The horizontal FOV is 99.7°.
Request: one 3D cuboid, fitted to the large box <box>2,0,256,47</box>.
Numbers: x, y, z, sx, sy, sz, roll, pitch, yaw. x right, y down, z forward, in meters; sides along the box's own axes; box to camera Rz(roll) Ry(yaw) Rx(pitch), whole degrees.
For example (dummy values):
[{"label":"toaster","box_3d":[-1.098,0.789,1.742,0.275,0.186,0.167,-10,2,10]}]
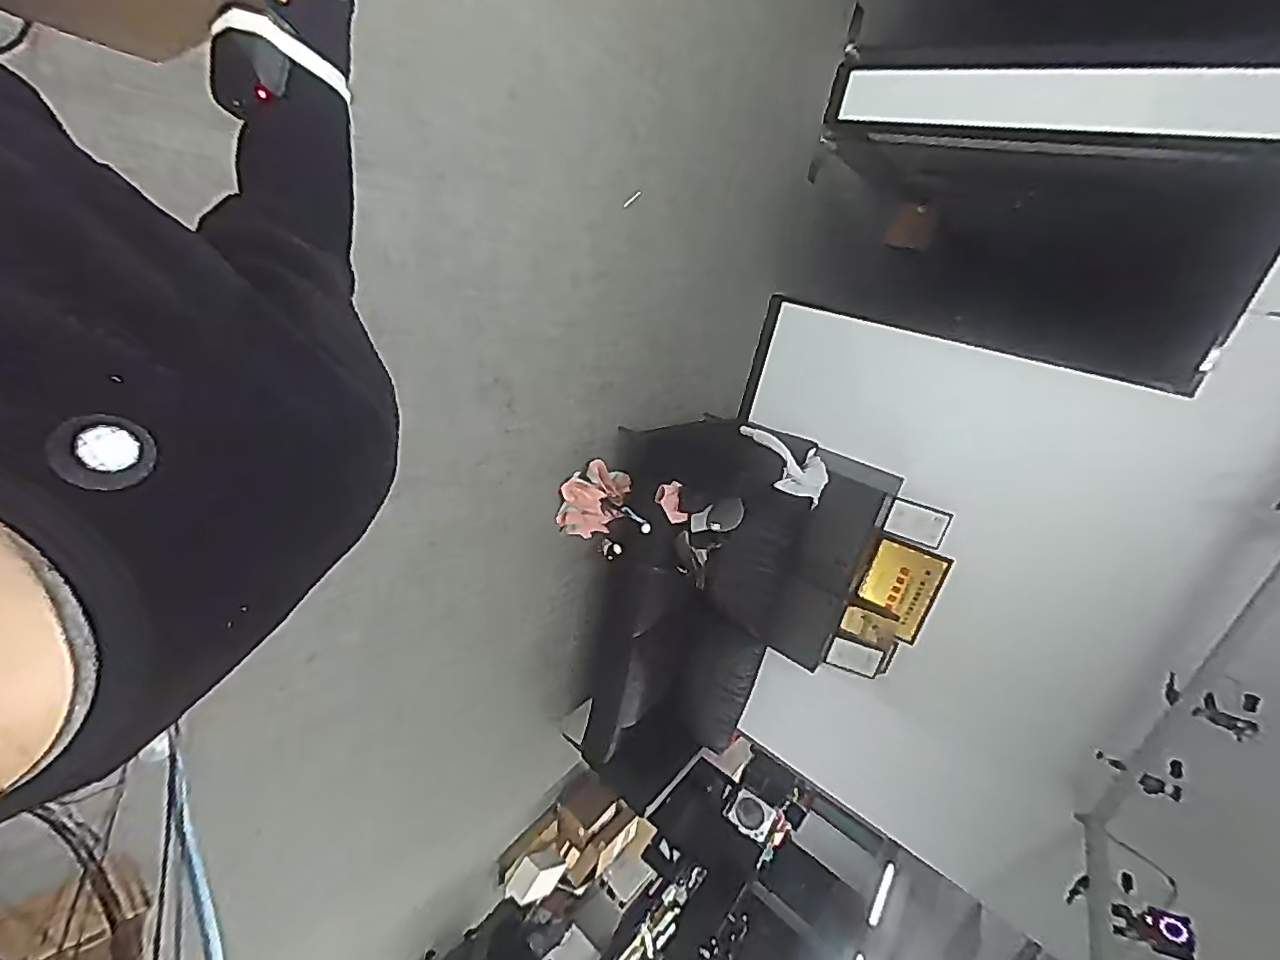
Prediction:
[{"label":"large box","box_3d":[-0.490,-0.510,0.289,0.408,0.320,0.320,-16,119,-49]}]
